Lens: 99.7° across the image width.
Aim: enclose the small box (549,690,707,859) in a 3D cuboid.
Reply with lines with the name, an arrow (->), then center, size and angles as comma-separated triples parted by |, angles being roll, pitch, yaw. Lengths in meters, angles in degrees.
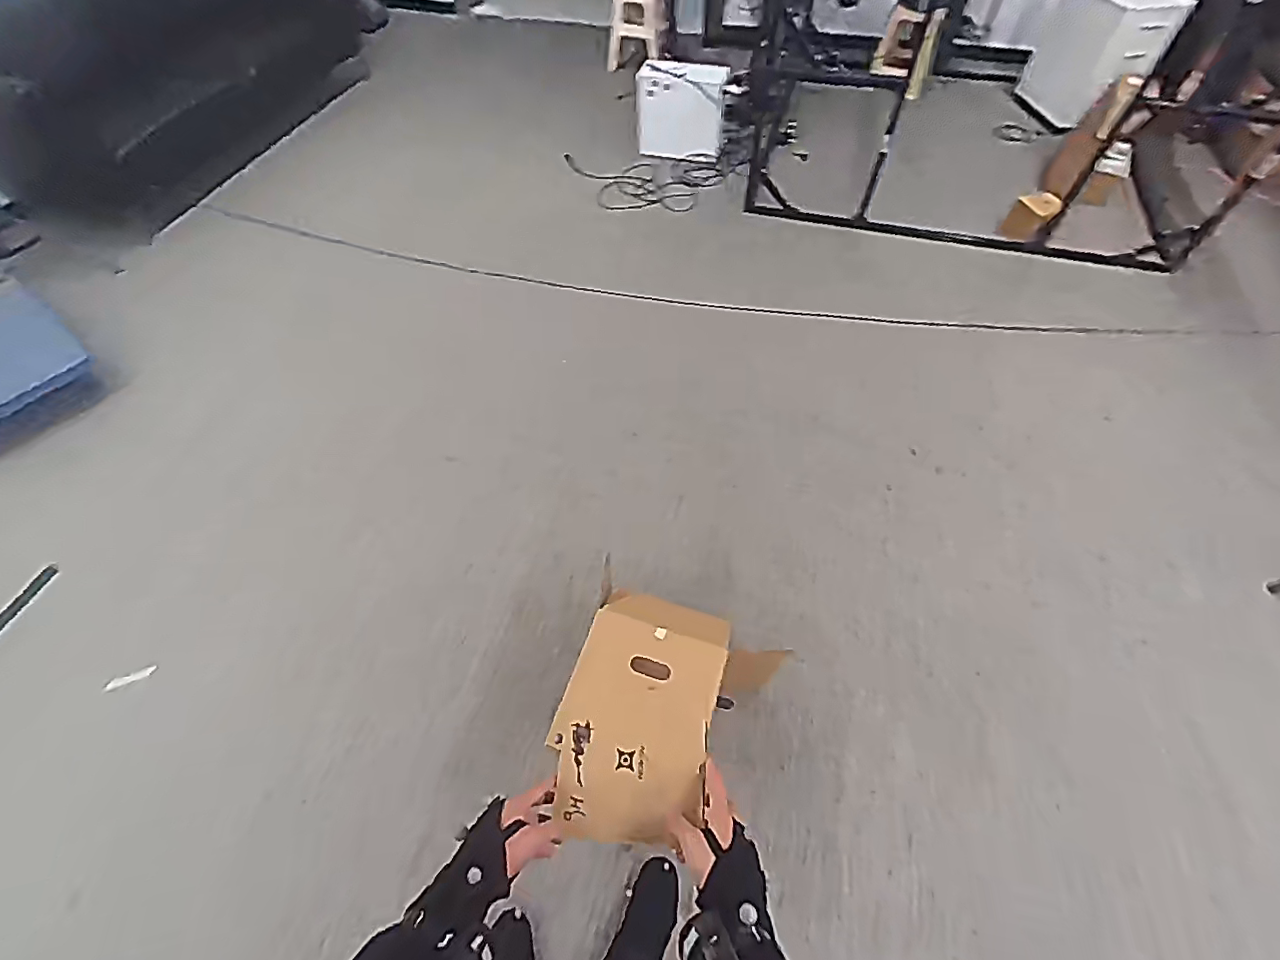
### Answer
small box -> -0.012, 0.384, 0.718 | 0.179, 0.176, 0.168 | 5, 61, 2
